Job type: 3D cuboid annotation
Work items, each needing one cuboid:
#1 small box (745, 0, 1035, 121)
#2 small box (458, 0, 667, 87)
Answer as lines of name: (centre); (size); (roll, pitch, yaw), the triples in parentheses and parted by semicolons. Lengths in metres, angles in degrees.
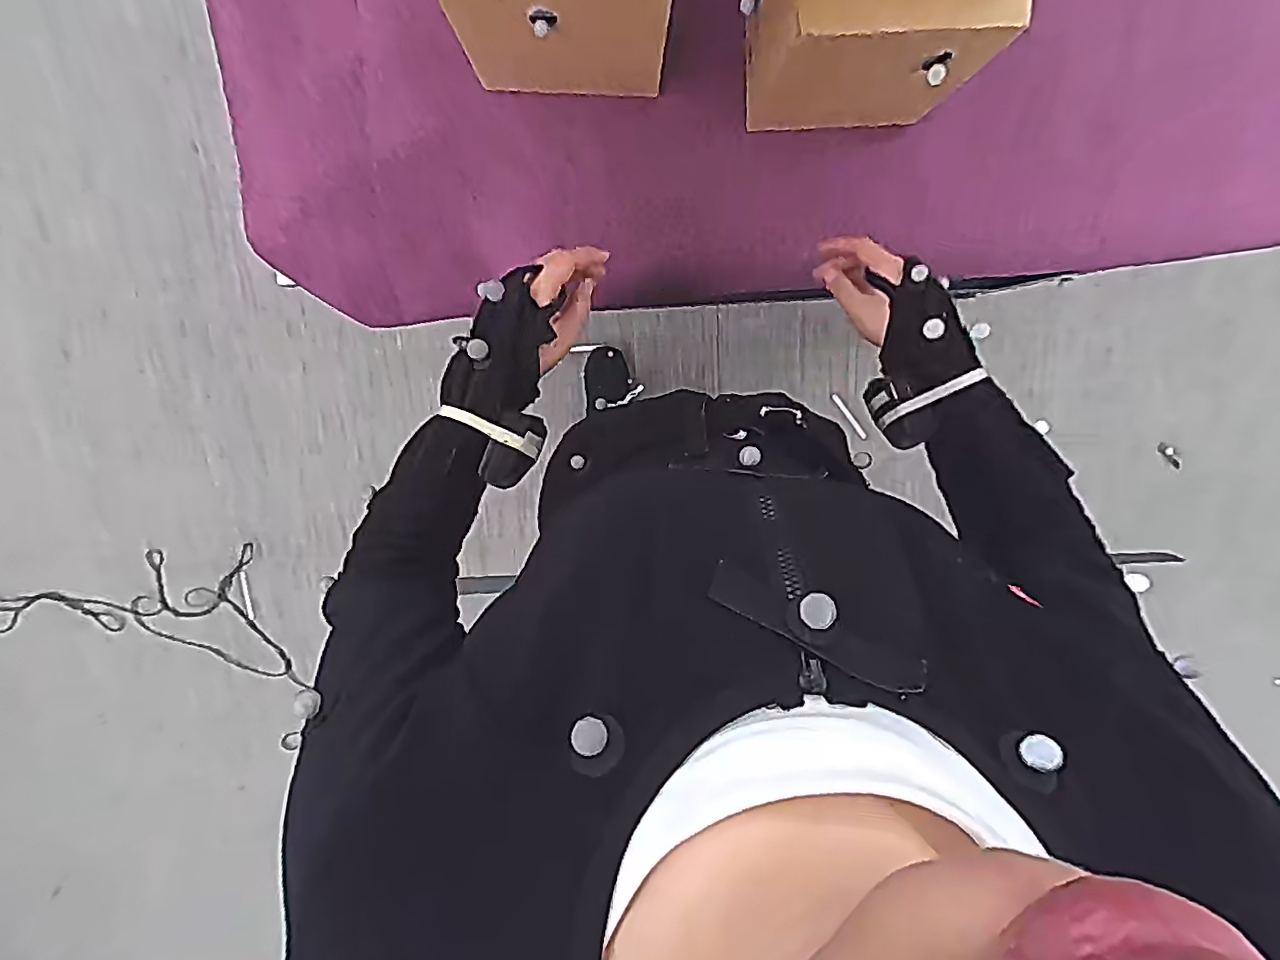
small box: (0.195, -0.427, 0.452); (0.179, 0.176, 0.168); (-3, 101, -1)
small box: (-0.062, -0.453, 0.441); (0.179, 0.176, 0.168); (1, 102, -3)
